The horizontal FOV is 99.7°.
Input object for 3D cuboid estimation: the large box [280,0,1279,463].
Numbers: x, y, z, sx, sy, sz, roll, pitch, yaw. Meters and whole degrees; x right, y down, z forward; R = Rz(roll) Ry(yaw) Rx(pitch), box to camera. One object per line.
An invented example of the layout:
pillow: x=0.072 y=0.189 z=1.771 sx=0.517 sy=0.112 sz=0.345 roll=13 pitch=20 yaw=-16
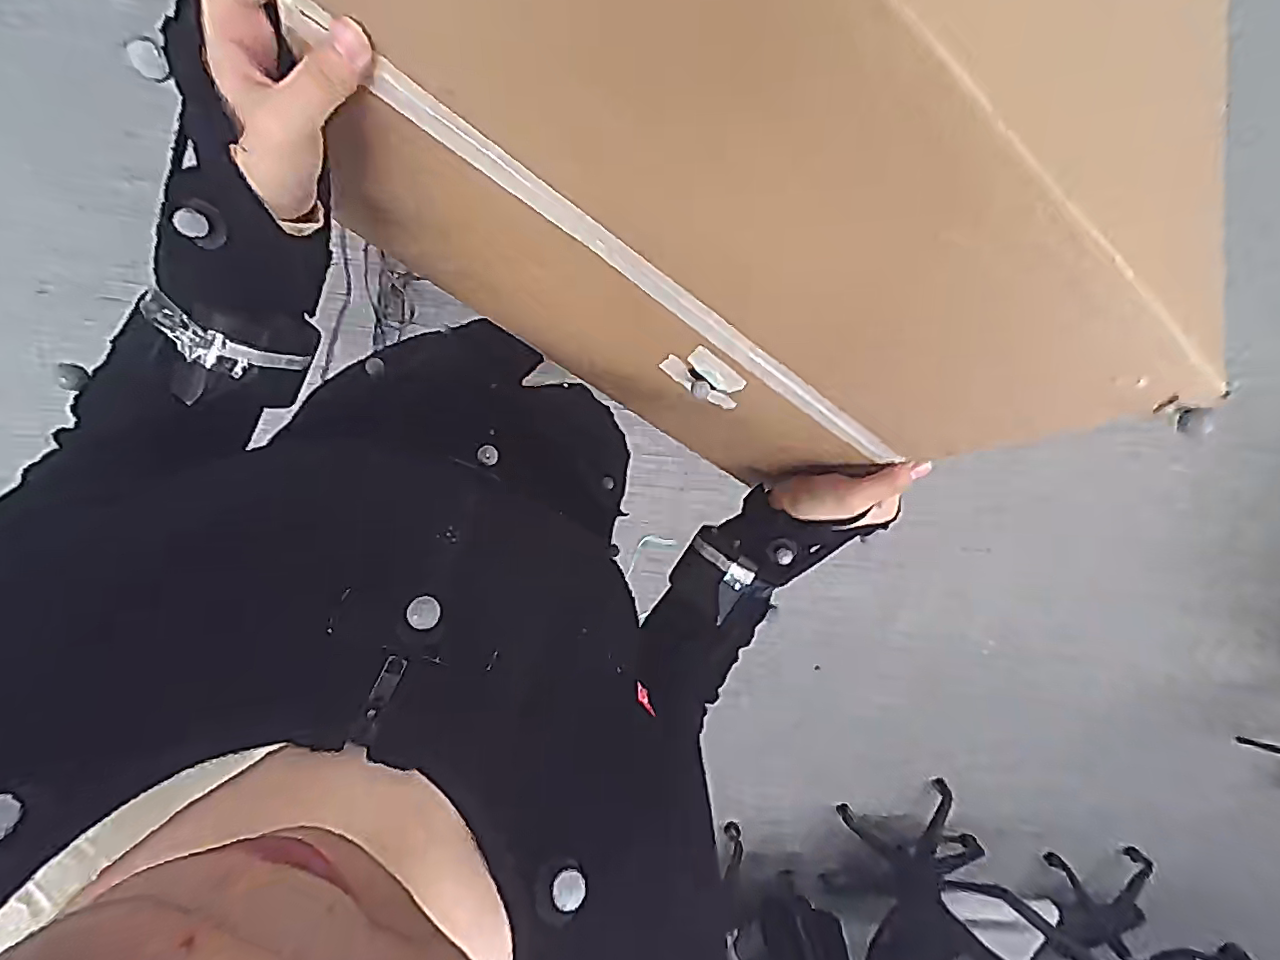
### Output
large box: x=0.074 y=-0.257 z=0.320 sx=0.408 sy=0.320 sz=0.320 roll=29 pitch=71 yaw=-19
